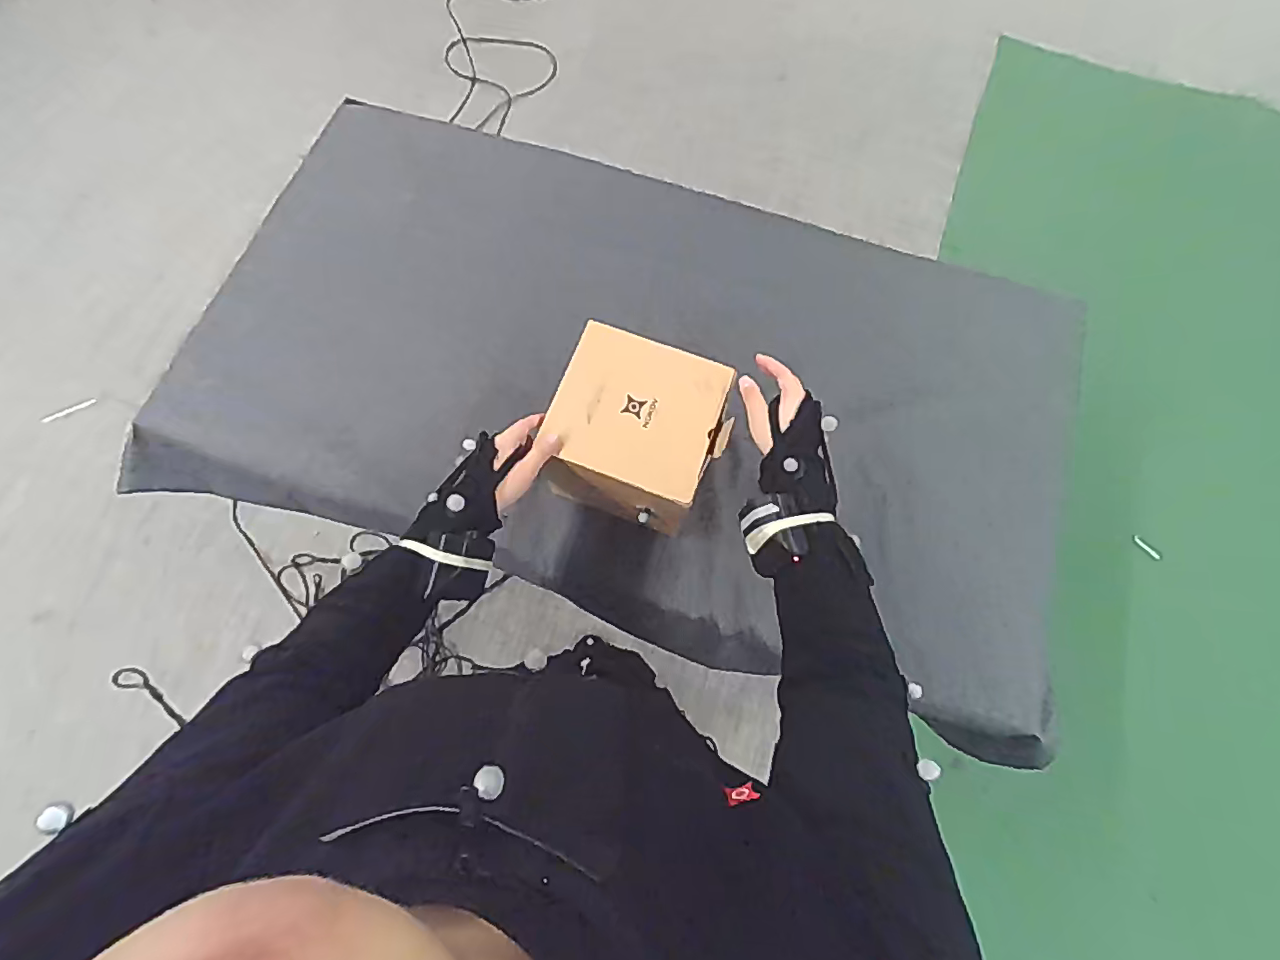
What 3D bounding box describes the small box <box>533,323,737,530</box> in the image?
[{"bbox_3d":[-0.004,-0.051,0.646,0.179,0.176,0.168,19,72,5],"label":"small box"}]
